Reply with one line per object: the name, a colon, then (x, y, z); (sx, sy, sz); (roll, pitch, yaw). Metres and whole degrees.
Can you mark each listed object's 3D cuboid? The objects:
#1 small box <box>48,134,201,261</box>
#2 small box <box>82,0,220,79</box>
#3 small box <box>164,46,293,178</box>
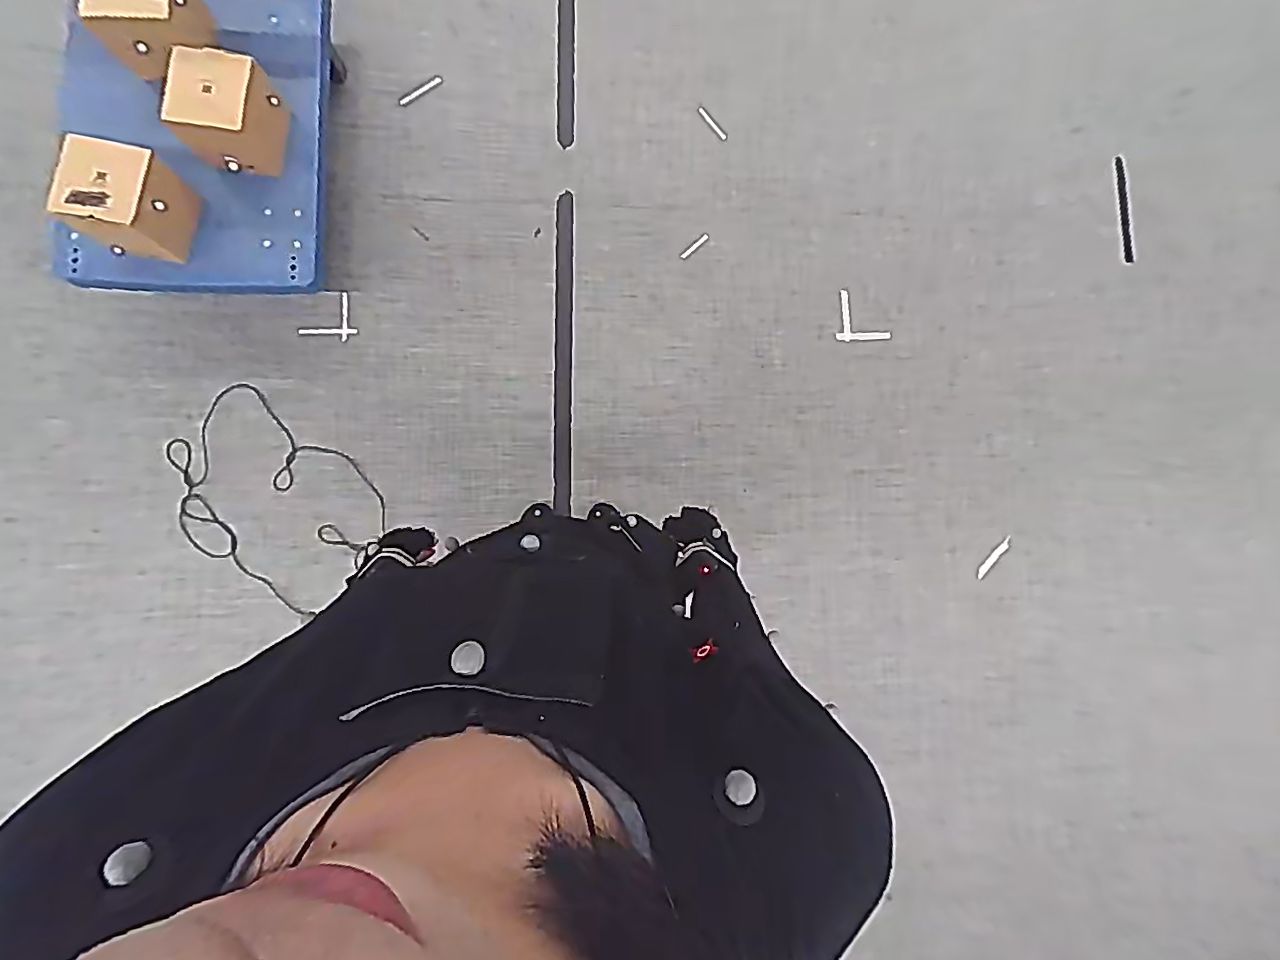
small box: (-1.132, -0.619, 1.205); (0.168, 0.176, 0.179); (10, 83, -6)
small box: (-1.115, -1.062, 1.244); (0.179, 0.176, 0.168); (-4, 87, -6)
small box: (-0.937, -0.839, 1.247); (0.168, 0.176, 0.179); (5, 86, -4)
